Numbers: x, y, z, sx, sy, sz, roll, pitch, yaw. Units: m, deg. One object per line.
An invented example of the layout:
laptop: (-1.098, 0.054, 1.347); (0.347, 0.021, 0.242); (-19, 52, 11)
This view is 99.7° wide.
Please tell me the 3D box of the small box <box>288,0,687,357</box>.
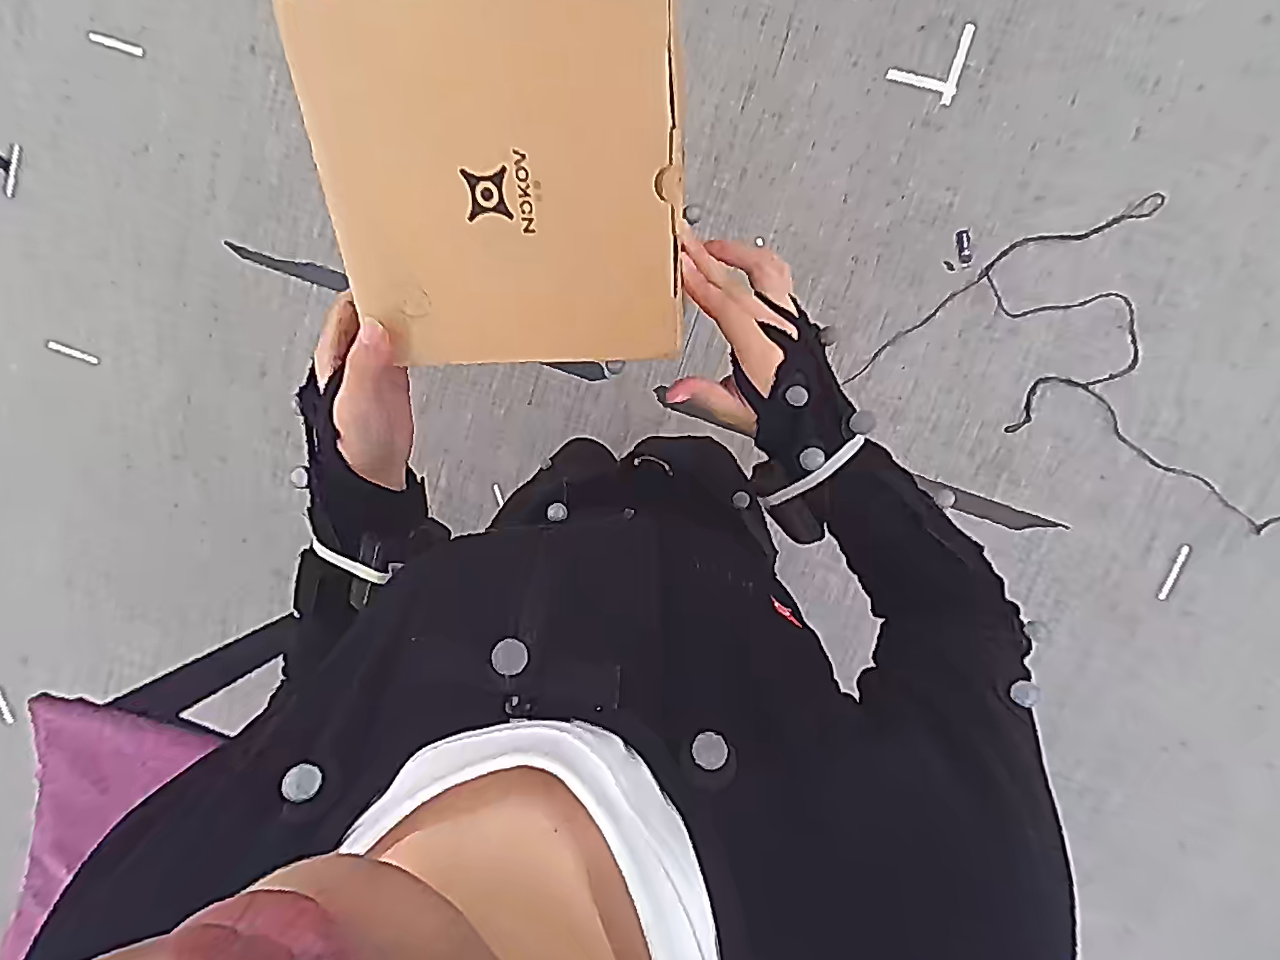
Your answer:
small box: (-0.060, -0.176, 0.334); (0.179, 0.176, 0.168); (-1, 116, 5)
